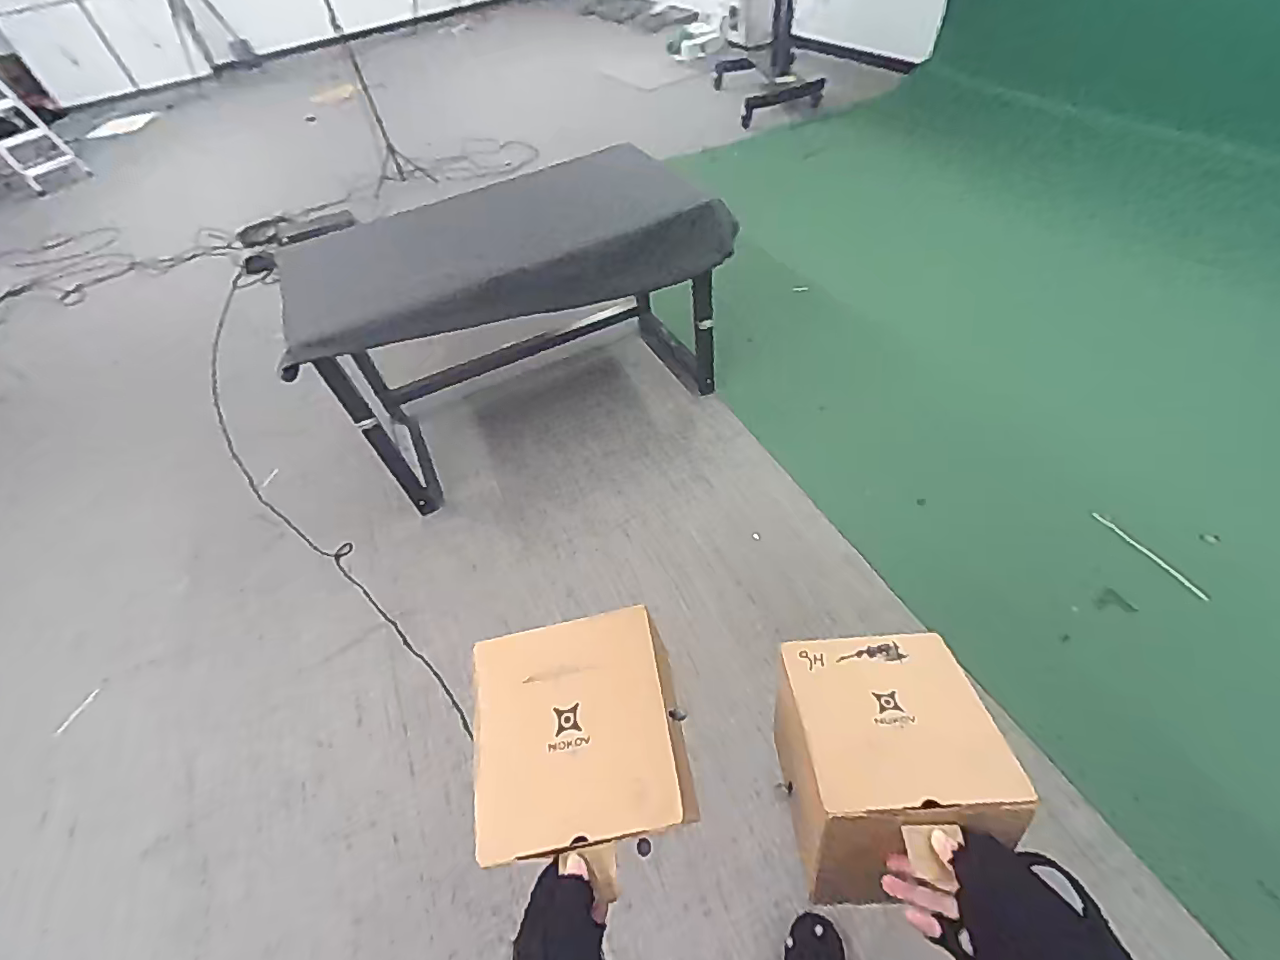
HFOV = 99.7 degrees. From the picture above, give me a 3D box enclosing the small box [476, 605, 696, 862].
[{"bbox_3d":[-0.046,0.246,0.531,0.168,0.176,0.179,-15,58,2],"label":"small box"}]
